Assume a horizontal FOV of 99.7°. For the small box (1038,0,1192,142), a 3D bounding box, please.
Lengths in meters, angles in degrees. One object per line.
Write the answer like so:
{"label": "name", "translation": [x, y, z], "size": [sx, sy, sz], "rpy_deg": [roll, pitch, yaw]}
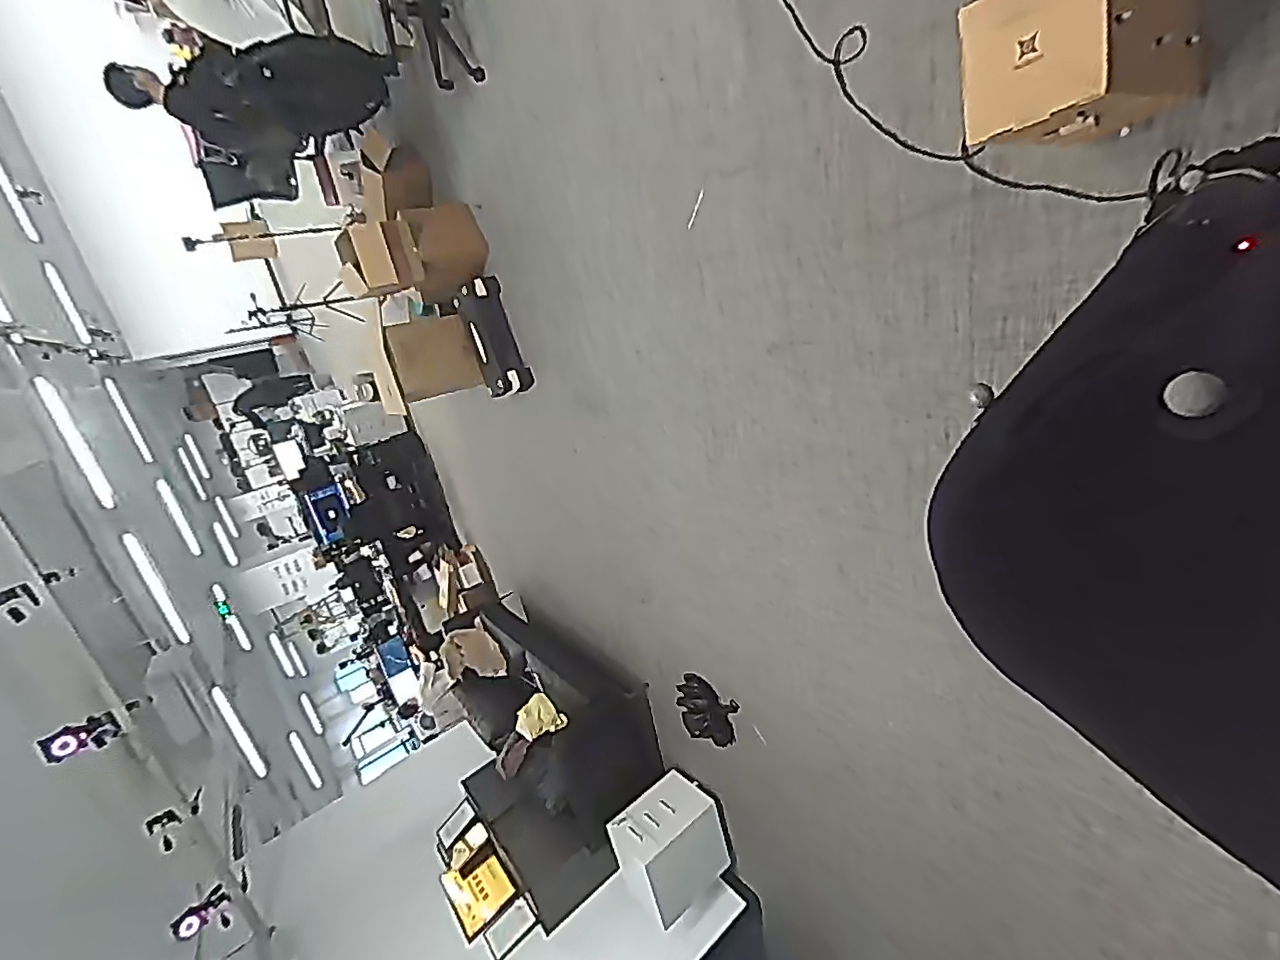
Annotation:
{"label": "small box", "translation": [0.818, -0.712, 0.931], "size": [0.168, 0.176, 0.179], "rpy_deg": [3, 114, 55]}
